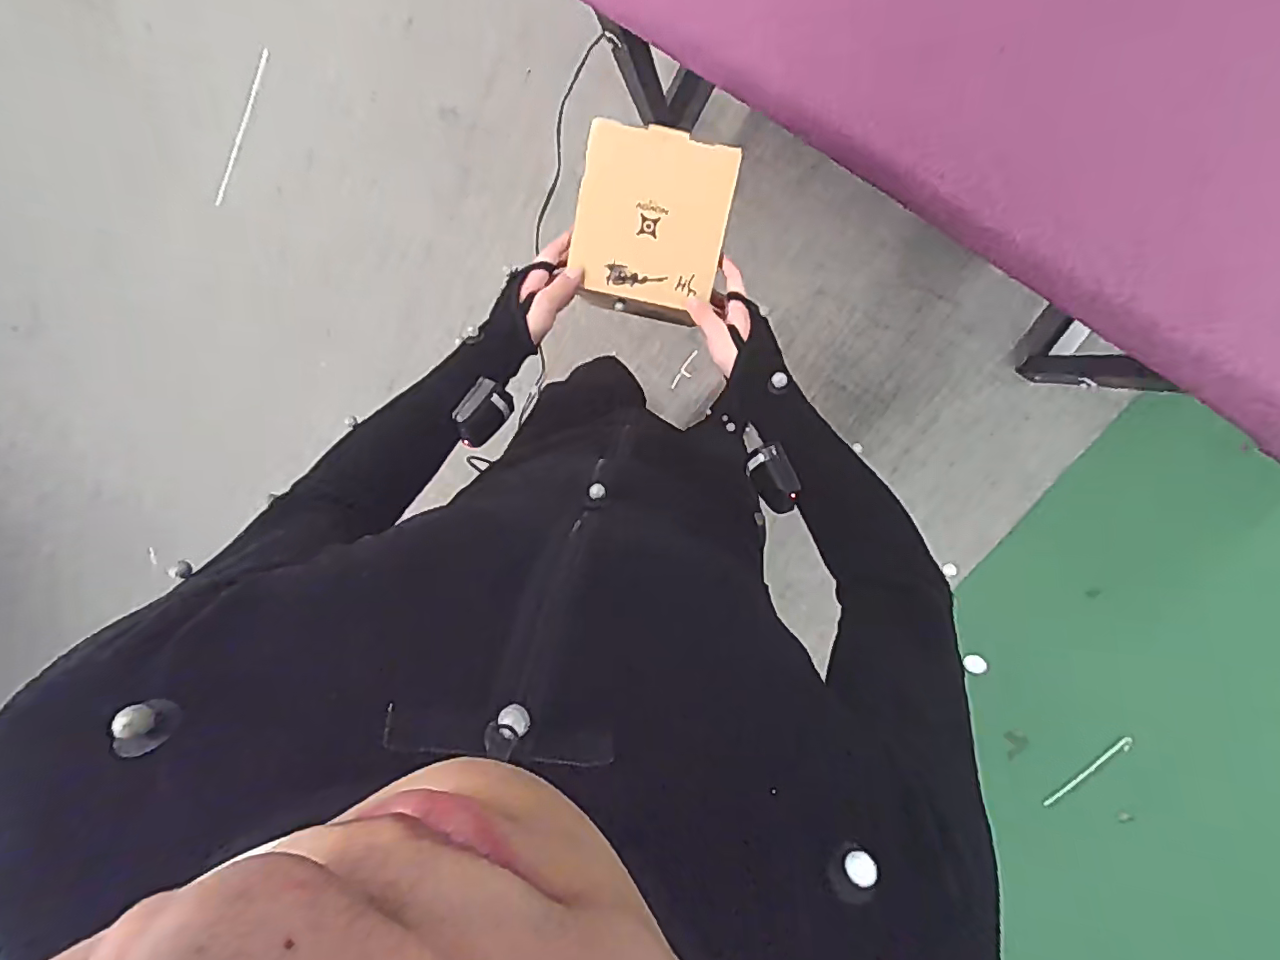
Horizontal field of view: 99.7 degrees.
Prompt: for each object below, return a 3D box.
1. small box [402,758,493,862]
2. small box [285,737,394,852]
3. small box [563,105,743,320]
[{"bbox_3d":[-0.582,1.007,1.659,0.168,0.176,0.179,39,107,1],"label":"small box"},{"bbox_3d":[-0.822,0.864,1.497,0.168,0.176,0.179,38,106,-2],"label":"small box"},{"bbox_3d":[0.013,-0.306,0.658,0.168,0.176,0.179,12,101,-1],"label":"small box"}]
